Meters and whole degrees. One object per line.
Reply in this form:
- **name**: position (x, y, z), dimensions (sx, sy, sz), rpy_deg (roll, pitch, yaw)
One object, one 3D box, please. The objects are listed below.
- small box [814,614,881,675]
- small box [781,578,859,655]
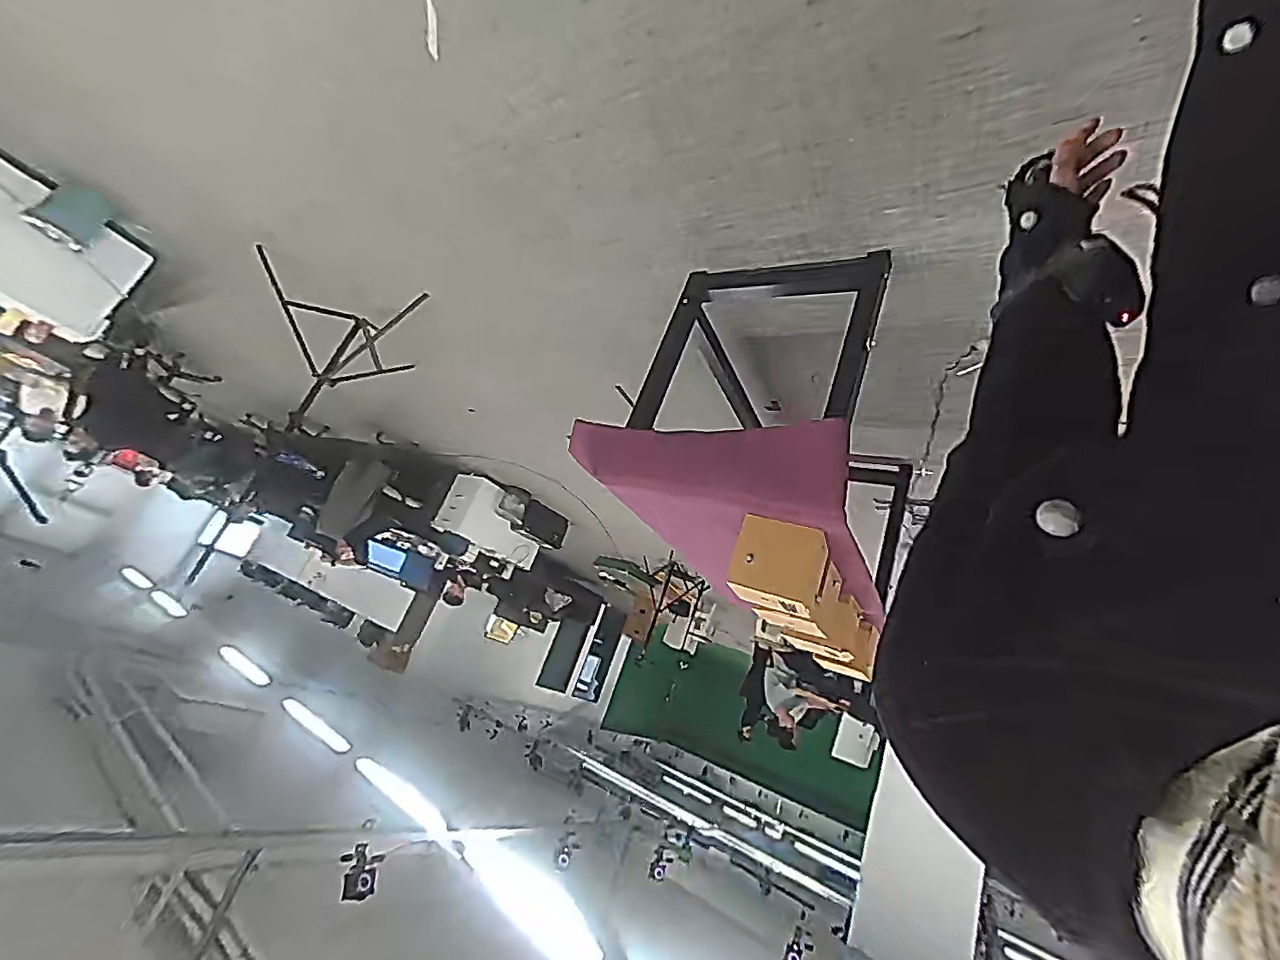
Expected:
- **small box**: position (0.722, 0.552, 1.870), dimensions (0.168, 0.176, 0.179), rpy_deg (7, 157, 36)
- **small box**: position (0.552, 0.408, 1.632), dimensions (0.179, 0.176, 0.168), rpy_deg (7, 158, 37)
